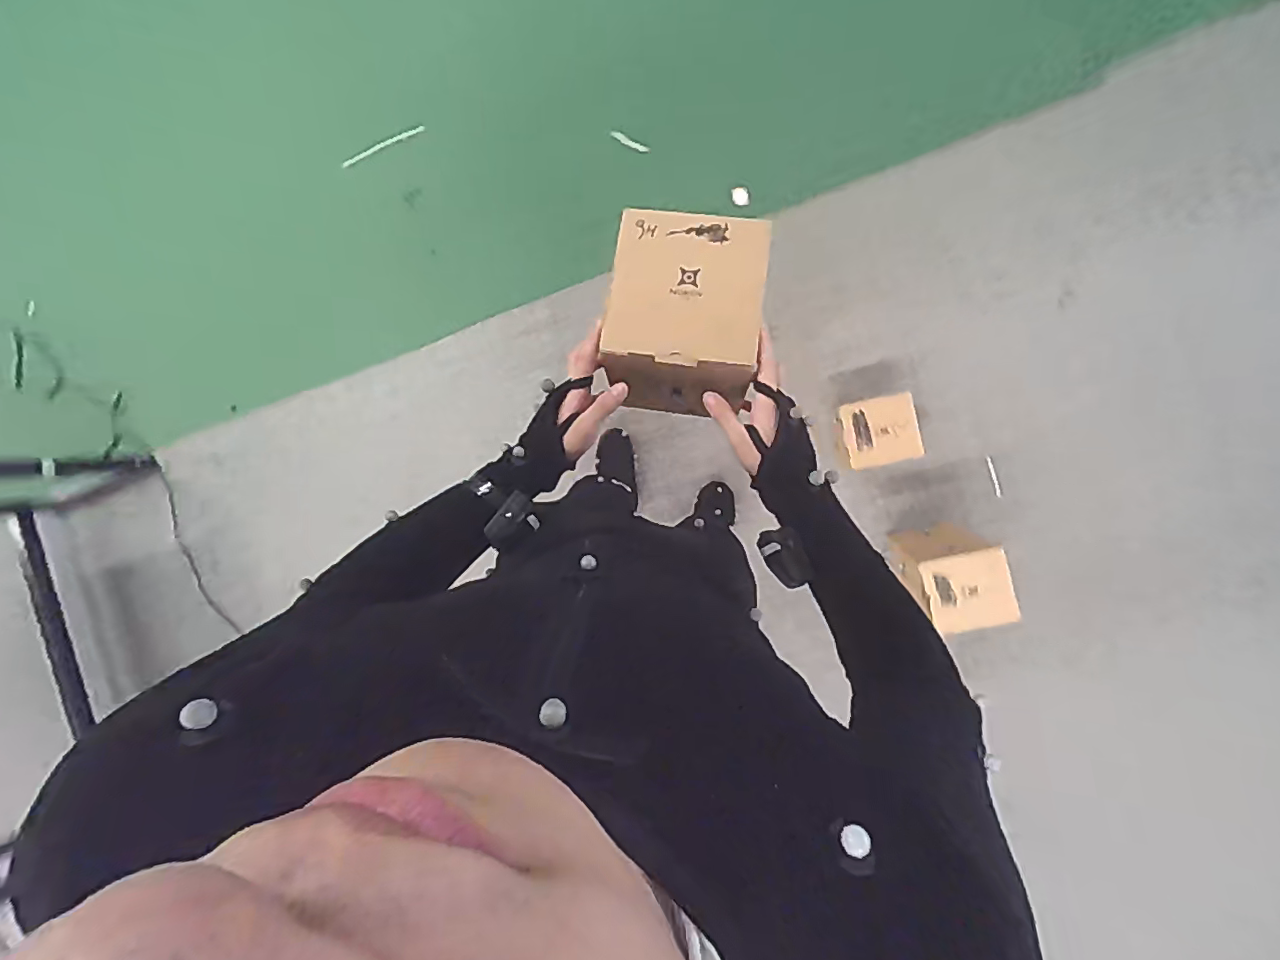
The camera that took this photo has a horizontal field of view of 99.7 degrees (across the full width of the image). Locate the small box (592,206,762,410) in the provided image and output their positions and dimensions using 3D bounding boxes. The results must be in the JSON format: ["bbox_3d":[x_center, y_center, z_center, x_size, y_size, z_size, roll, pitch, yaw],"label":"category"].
[{"bbox_3d":[0.047,-0.195,0.654,0.168,0.176,0.179,7,79,6],"label":"small box"}]

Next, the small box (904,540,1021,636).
[{"bbox_3d":[0.729,0.244,1.247,0.179,0.176,0.168,-14,90,12],"label":"small box"}]

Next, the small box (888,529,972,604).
[{"bbox_3d":[0.766,0.231,1.407,0.168,0.176,0.179,-15,90,13],"label":"small box"}]
